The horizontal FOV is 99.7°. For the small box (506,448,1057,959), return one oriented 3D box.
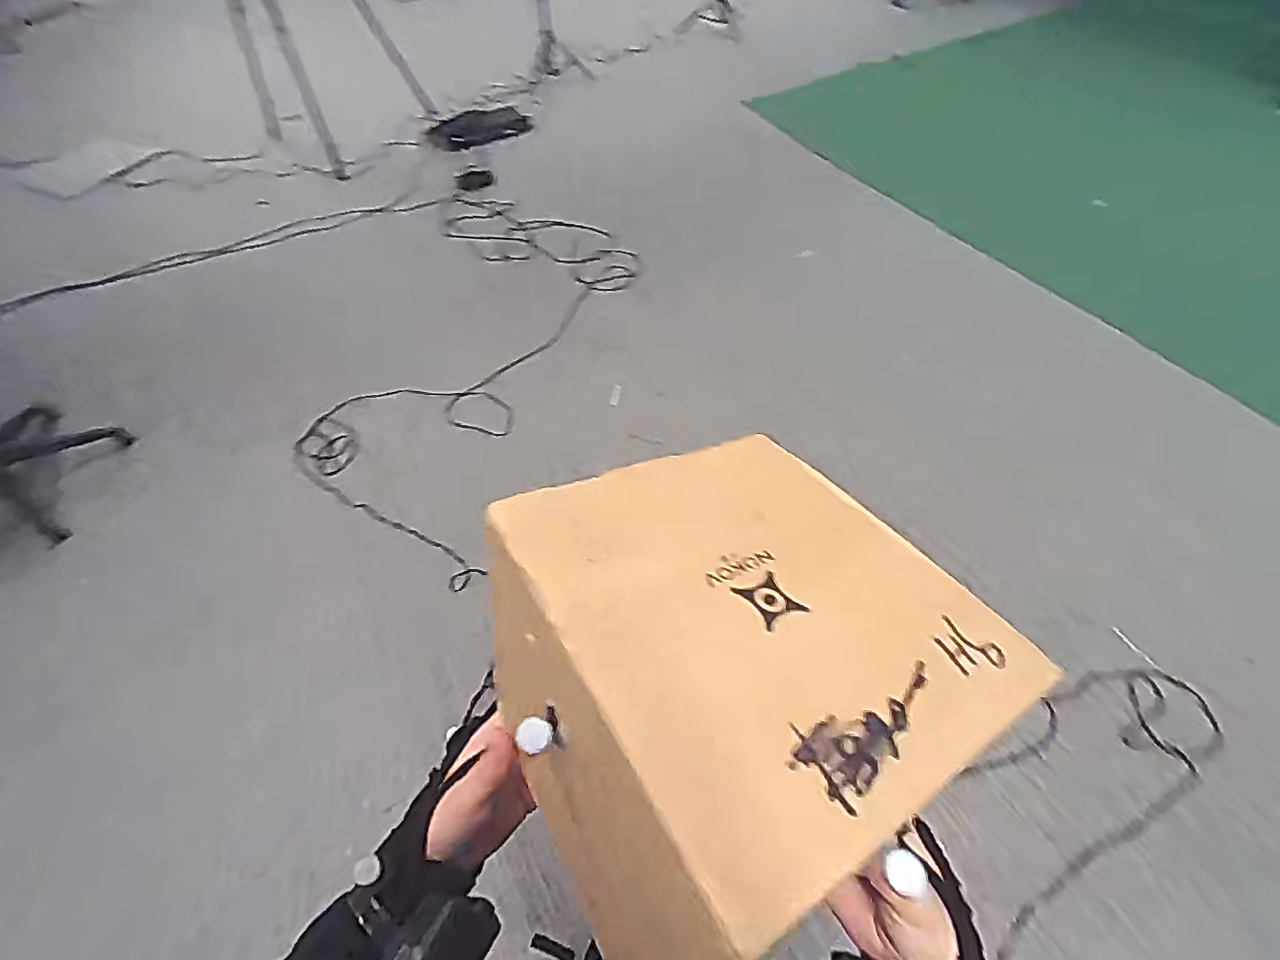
[{"bbox_3d":[0.041,0.112,0.274,0.168,0.176,0.179,-18,45,-29],"label":"small box"}]
